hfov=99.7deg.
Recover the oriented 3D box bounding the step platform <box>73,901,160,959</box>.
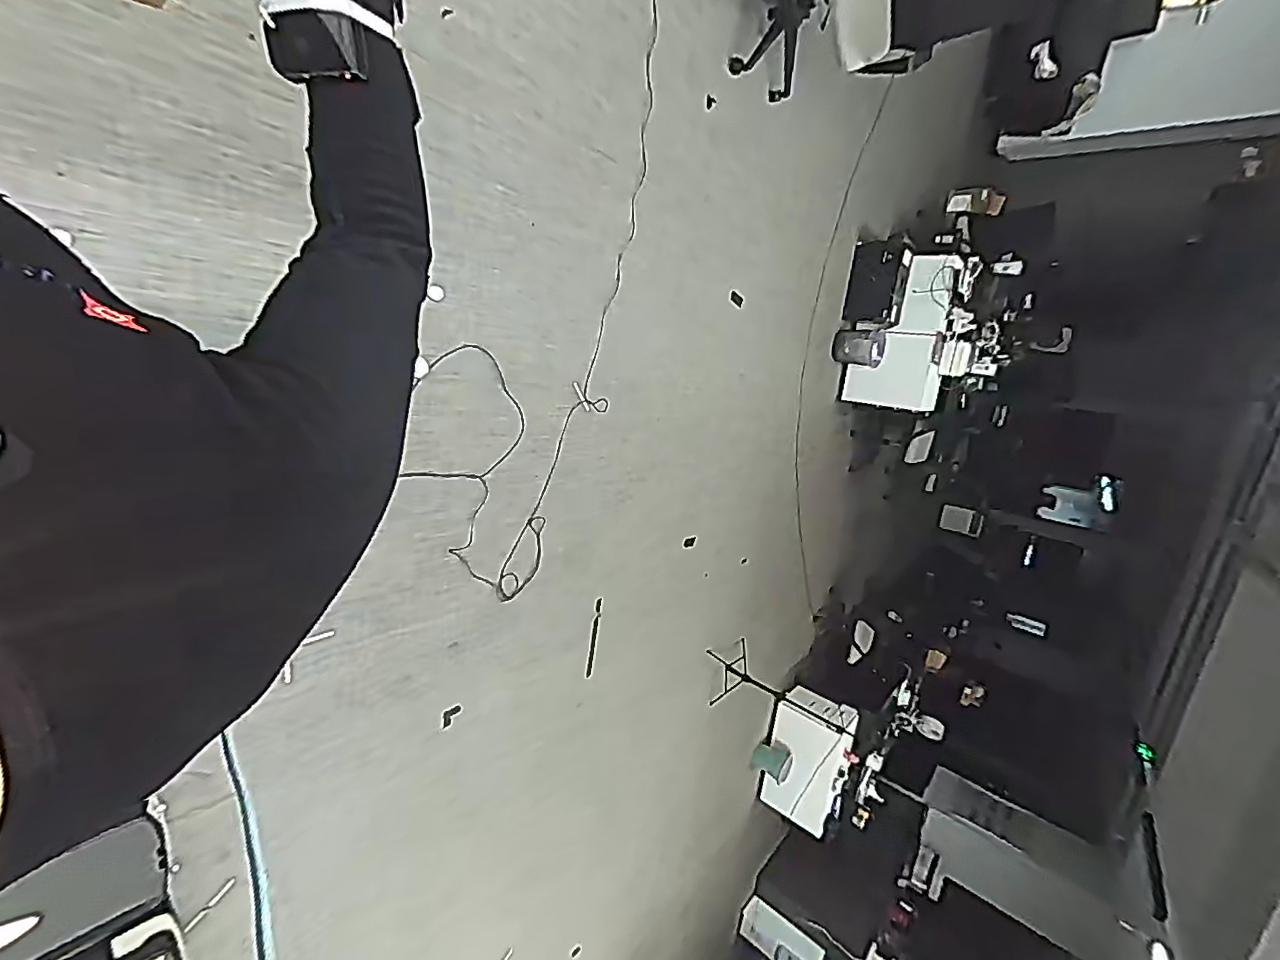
[{"bbox_3d":[-1.397,1.214,1.066,0.684,0.204,0.286,-11,112,-48],"label":"step platform"}]
